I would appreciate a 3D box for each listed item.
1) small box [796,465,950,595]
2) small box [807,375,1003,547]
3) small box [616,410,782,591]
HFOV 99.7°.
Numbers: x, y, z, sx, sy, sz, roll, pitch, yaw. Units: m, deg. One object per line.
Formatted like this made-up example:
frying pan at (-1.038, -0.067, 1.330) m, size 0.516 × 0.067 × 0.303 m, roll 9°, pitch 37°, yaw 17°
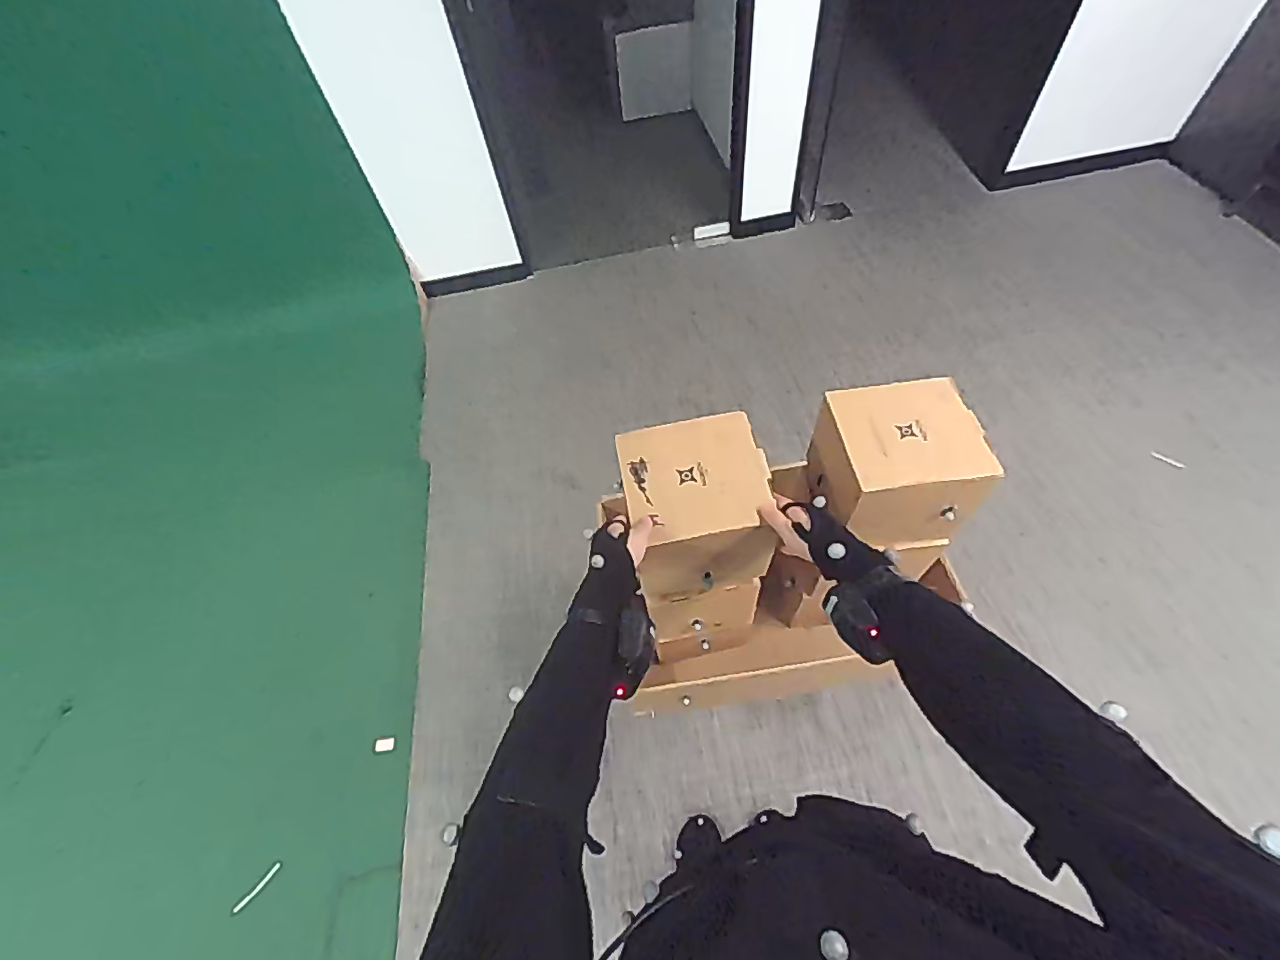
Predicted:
small box at (0.361, 0.077, 0.885) m, size 0.179 × 0.176 × 0.168 m, roll -7°, pitch 56°, yaw 2°
small box at (0.350, -0.021, 0.755) m, size 0.179 × 0.176 × 0.168 m, roll -7°, pitch 56°, yaw 2°
small box at (0.070, 0.033, 0.719) m, size 0.179 × 0.176 × 0.168 m, roll -10°, pitch 57°, yaw -1°
